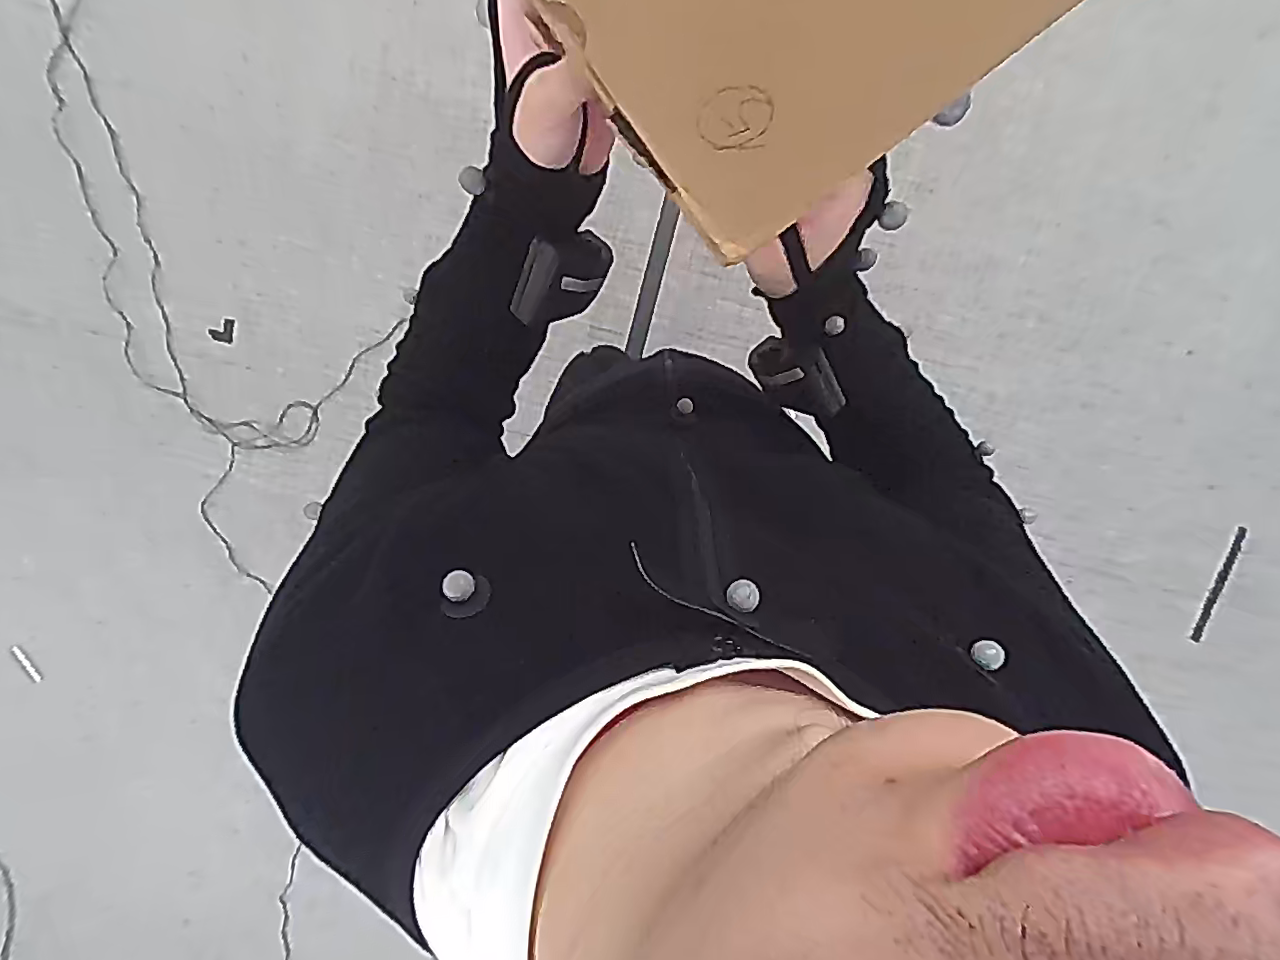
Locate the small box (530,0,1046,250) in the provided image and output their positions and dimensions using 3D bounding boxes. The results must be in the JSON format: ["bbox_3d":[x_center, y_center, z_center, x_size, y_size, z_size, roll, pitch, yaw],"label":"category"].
[{"bbox_3d":[0.052,-0.219,0.186,0.179,0.176,0.168,-32,116,28],"label":"small box"}]
